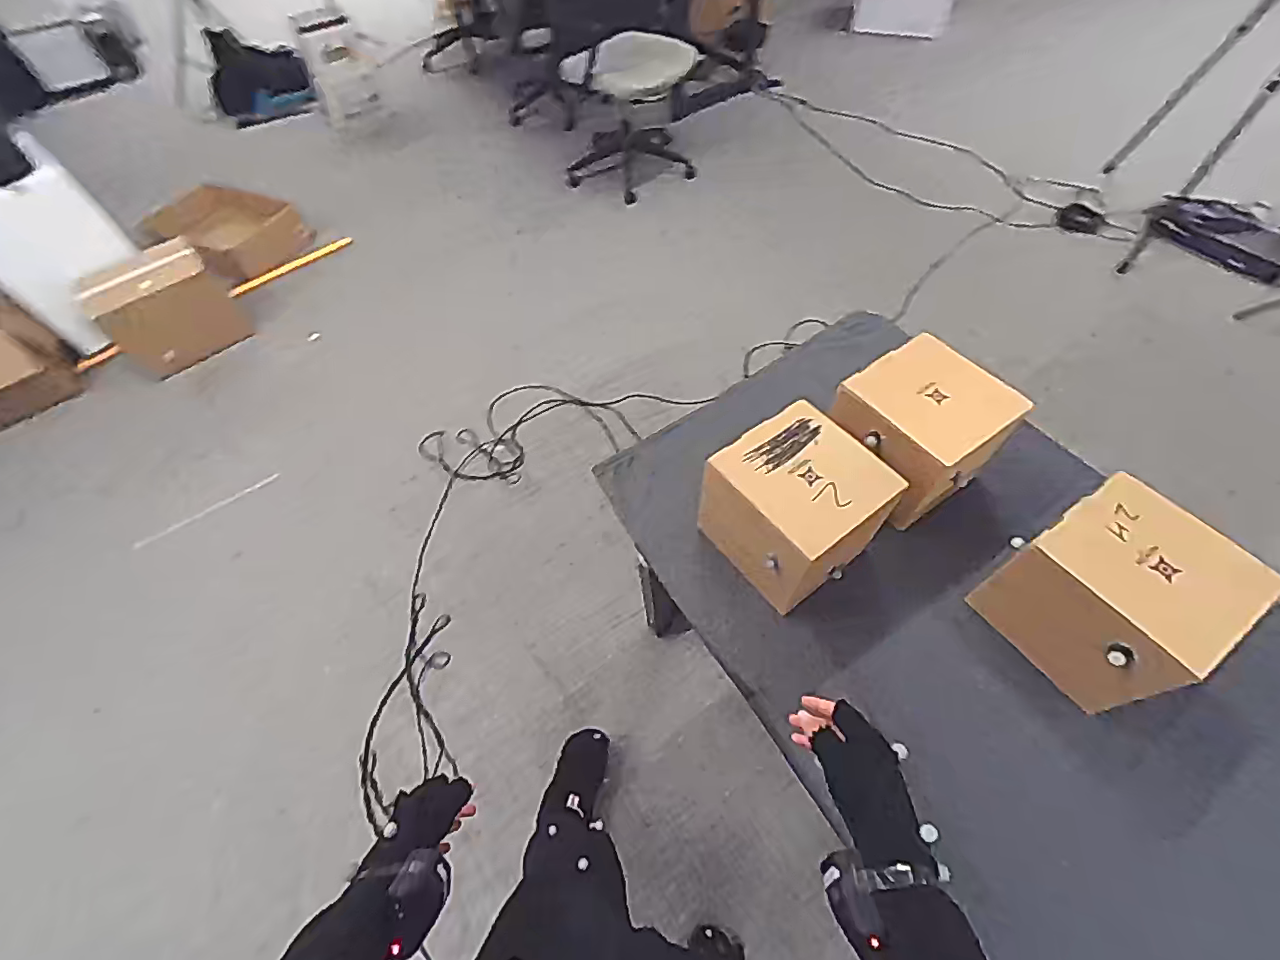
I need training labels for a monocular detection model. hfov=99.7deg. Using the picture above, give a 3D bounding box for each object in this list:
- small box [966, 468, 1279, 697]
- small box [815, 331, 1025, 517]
[{"bbox_3d":[0.530,0.126,0.622,0.168,0.176,0.179,-31,59,-16],"label":"small box"},{"bbox_3d":[0.379,-0.070,0.767,0.168,0.176,0.179,-32,59,-16],"label":"small box"}]
